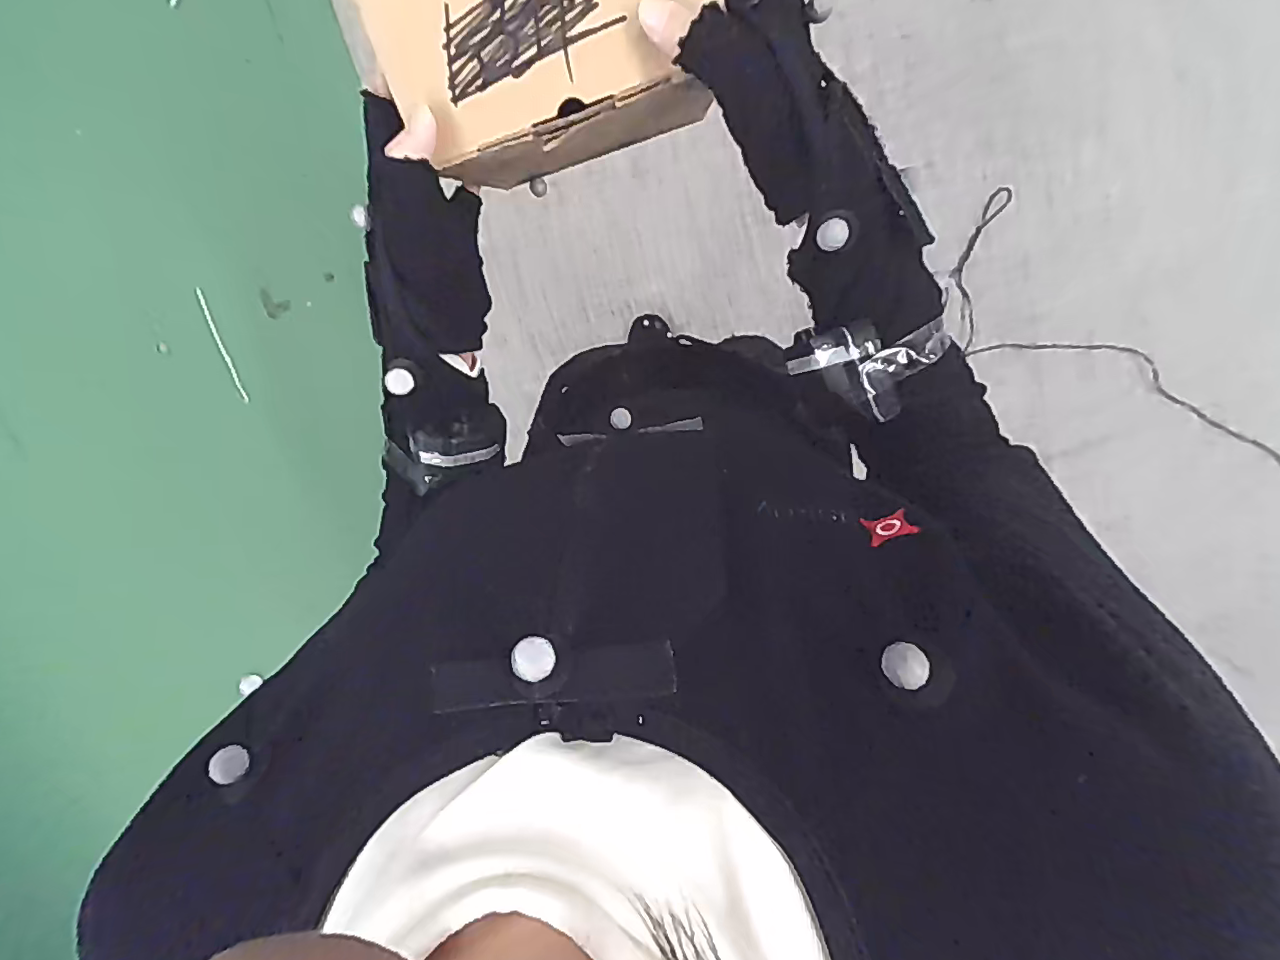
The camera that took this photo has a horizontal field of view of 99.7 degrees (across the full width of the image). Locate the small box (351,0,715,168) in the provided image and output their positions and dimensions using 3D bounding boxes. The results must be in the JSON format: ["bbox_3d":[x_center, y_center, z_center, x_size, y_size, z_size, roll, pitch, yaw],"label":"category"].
[{"bbox_3d":[-0.062,-0.299,0.309,0.168,0.176,0.179,-17,114,10],"label":"small box"}]
